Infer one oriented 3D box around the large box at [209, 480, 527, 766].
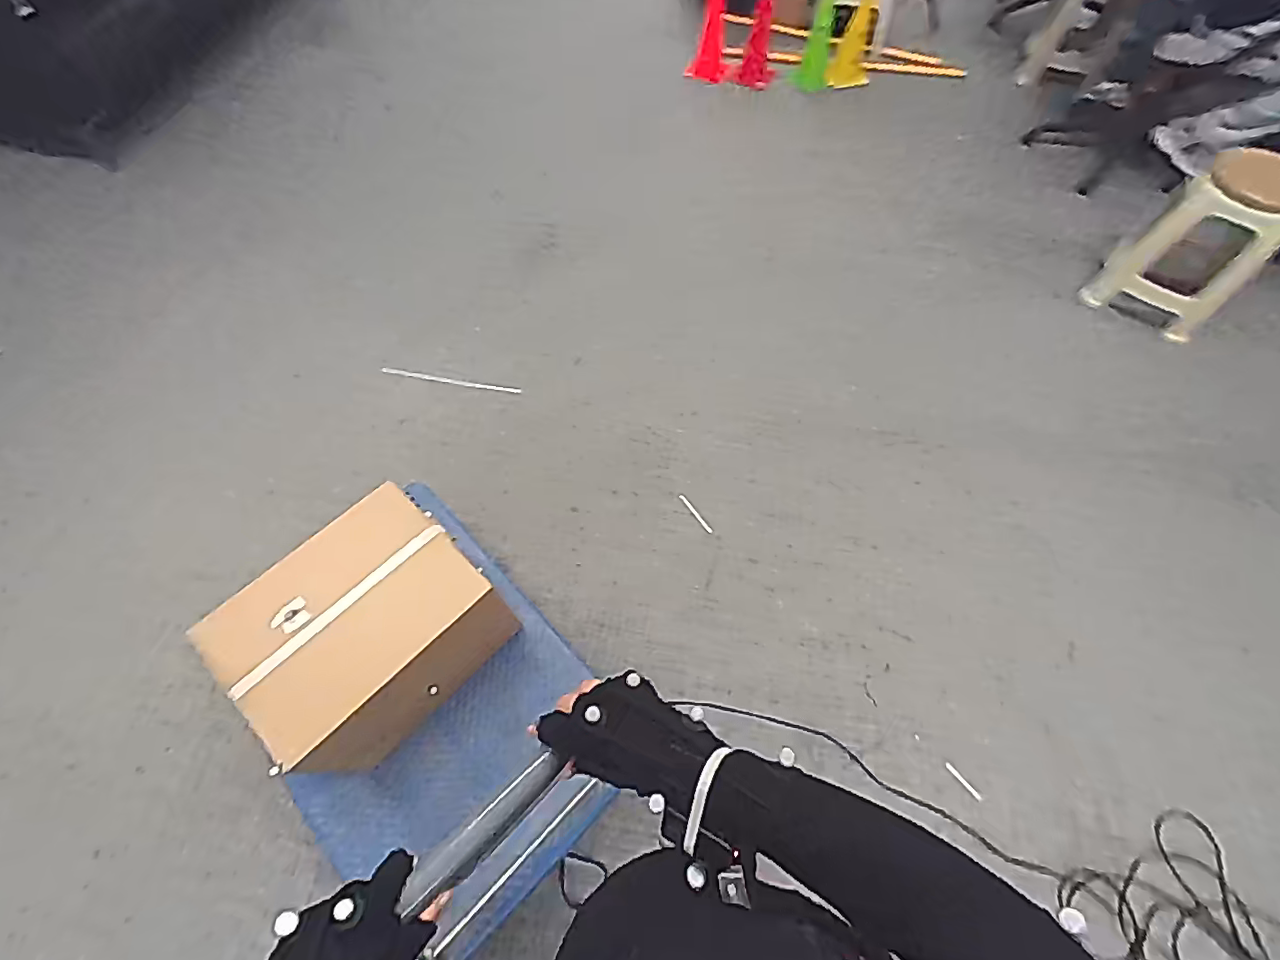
[{"bbox_3d":[-0.491,0.284,1.071,0.320,0.320,0.408,40,69,18],"label":"large box"}]
